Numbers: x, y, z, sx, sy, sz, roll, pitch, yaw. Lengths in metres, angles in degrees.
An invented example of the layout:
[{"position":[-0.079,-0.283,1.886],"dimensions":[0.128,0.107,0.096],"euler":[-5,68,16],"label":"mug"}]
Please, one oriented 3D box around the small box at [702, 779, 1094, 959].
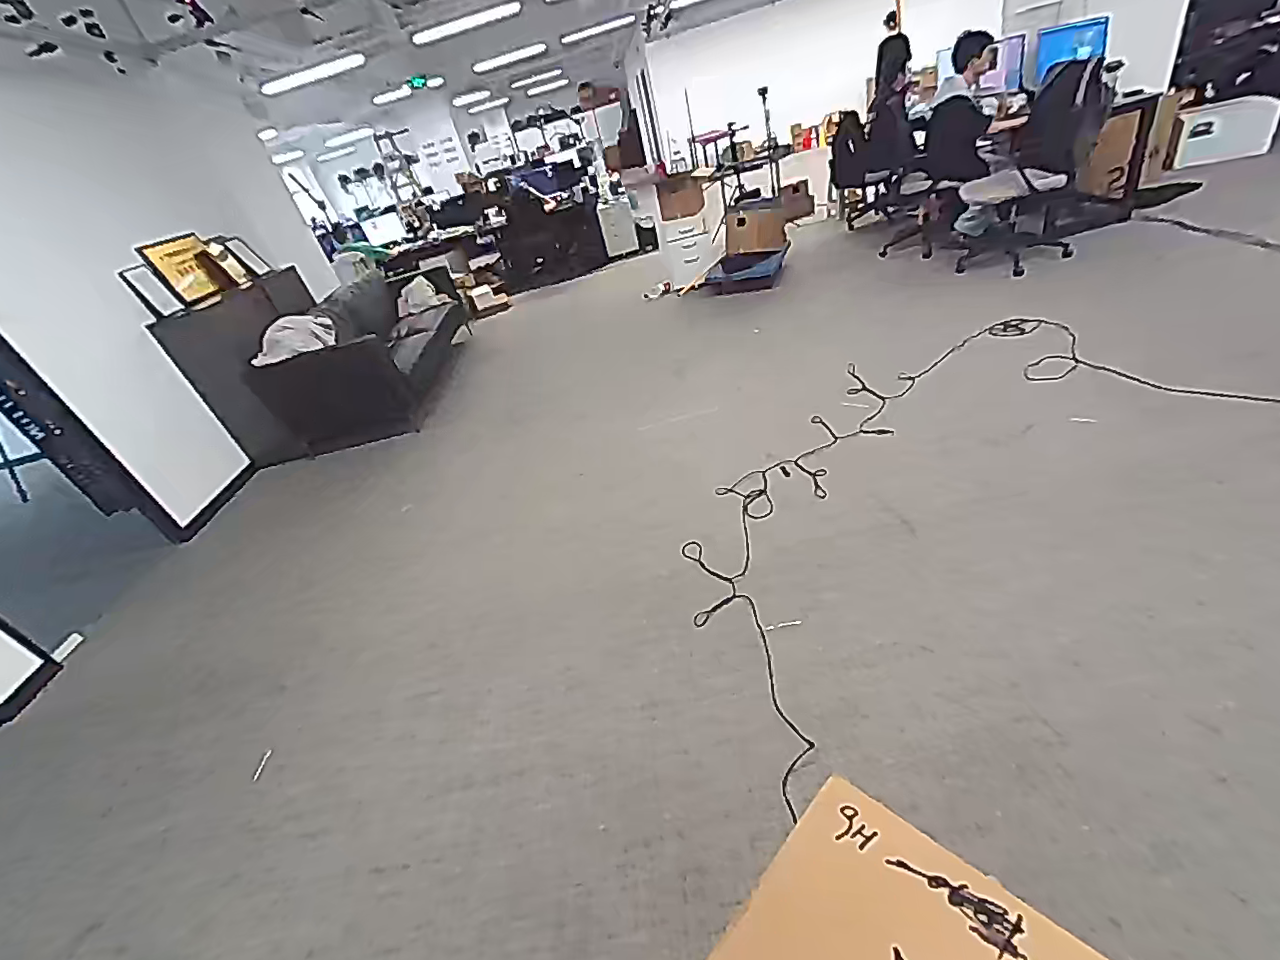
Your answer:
[{"position":[0.140,0.338,0.320],"dimensions":[0.168,0.176,0.179],"euler":[22,43,41],"label":"small box"}]
